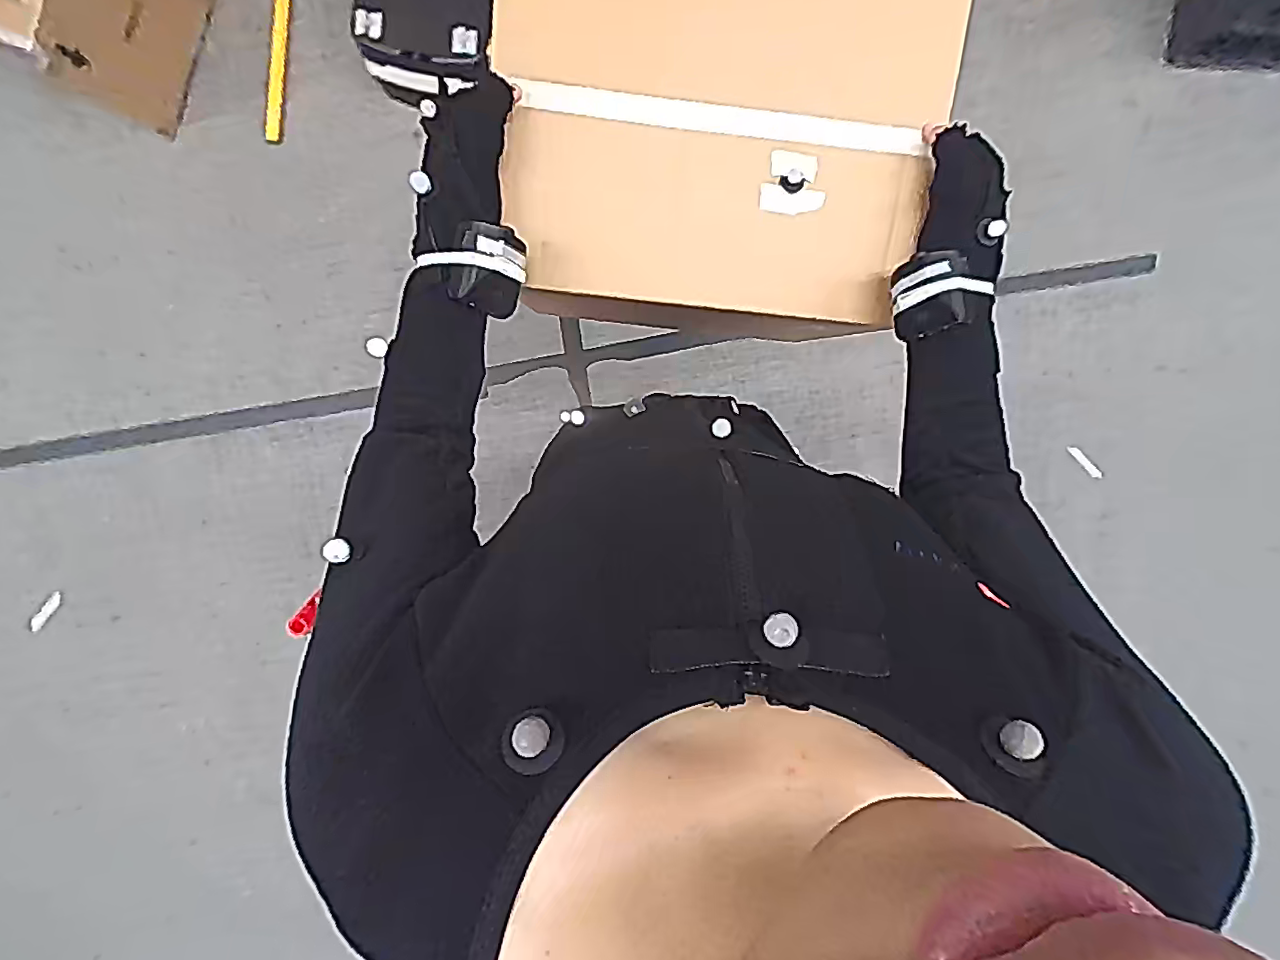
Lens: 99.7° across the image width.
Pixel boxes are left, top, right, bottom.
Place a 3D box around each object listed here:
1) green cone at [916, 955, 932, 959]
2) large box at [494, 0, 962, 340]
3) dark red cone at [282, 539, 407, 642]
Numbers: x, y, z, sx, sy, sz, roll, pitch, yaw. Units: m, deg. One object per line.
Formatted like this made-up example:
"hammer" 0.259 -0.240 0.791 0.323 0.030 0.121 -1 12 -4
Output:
"green cone" 0.944 1.702 1.609 0.200 0.368 0.202 43 93 -9
"large box" 0.064 -0.346 0.628 0.408 0.320 0.320 5 102 -5
"dark red cone" -0.717 0.282 1.278 0.201 0.394 0.202 -4 99 -4
